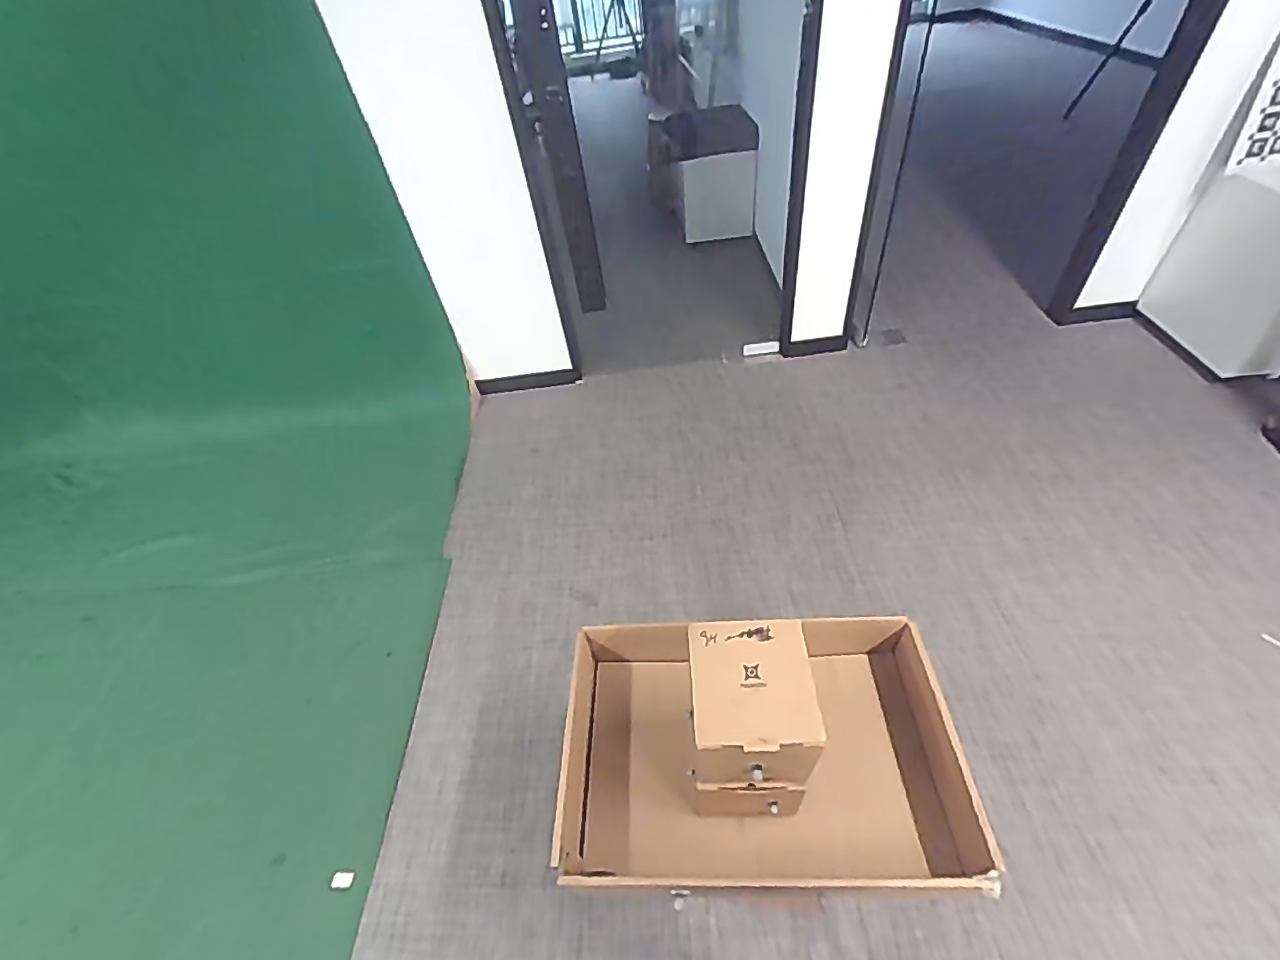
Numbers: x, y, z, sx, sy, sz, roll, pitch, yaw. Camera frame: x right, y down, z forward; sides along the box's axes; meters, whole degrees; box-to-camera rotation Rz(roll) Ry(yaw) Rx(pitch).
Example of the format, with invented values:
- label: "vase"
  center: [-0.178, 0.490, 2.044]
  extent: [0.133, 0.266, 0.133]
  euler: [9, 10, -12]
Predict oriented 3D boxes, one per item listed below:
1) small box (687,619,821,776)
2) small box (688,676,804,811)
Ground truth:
- label: "small box"
  center: [0.157, 0.326, 0.800]
  extent: [0.168, 0.176, 0.179]
  euler: [-3, 47, 4]
- label: "small box"
  center: [0.169, 0.445, 0.912]
  extent: [0.168, 0.176, 0.179]
  euler: [-3, 45, 3]
